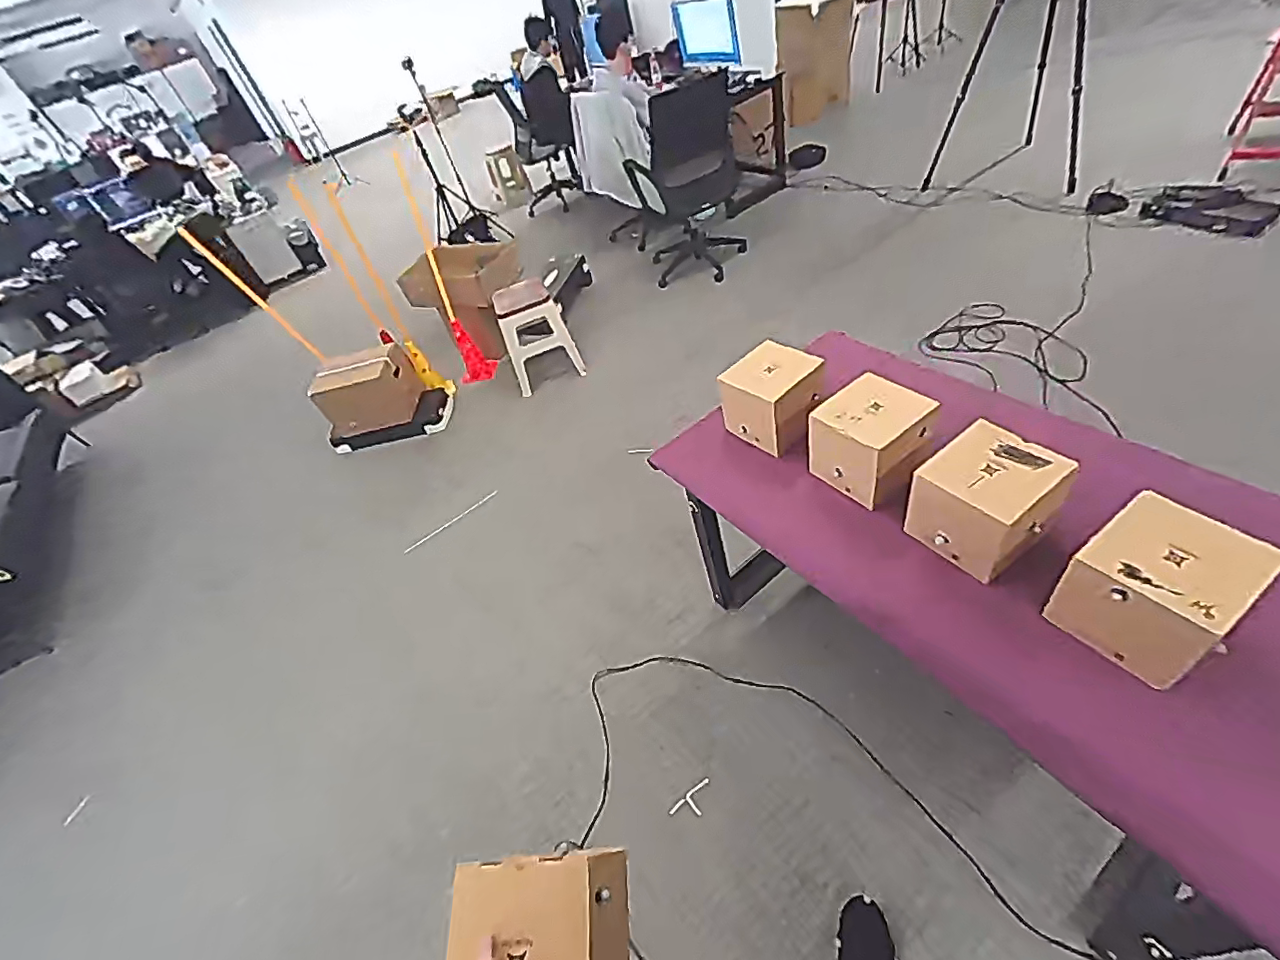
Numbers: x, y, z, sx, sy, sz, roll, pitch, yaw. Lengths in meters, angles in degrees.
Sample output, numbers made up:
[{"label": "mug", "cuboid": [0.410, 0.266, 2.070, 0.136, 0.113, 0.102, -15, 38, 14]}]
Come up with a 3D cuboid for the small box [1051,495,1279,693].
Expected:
[{"label": "small box", "cuboid": [0.732, 0.160, 0.766, 0.179, 0.176, 0.168, -33, 45, -14]}]

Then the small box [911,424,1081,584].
[{"label": "small box", "cuboid": [0.594, 0.041, 0.930, 0.179, 0.176, 0.168, -34, 46, -13]}]

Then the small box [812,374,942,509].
[{"label": "small box", "cuboid": [0.466, -0.078, 1.088, 0.179, 0.176, 0.168, -34, 46, -15]}]

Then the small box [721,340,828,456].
[{"label": "small box", "cuboid": [0.310, -0.188, 1.248, 0.179, 0.176, 0.168, -38, 47, -18]}]

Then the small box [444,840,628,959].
[{"label": "small box", "cuboid": [-0.113, 0.537, 0.640, 0.168, 0.176, 0.179, -10, 56, 9]}]
